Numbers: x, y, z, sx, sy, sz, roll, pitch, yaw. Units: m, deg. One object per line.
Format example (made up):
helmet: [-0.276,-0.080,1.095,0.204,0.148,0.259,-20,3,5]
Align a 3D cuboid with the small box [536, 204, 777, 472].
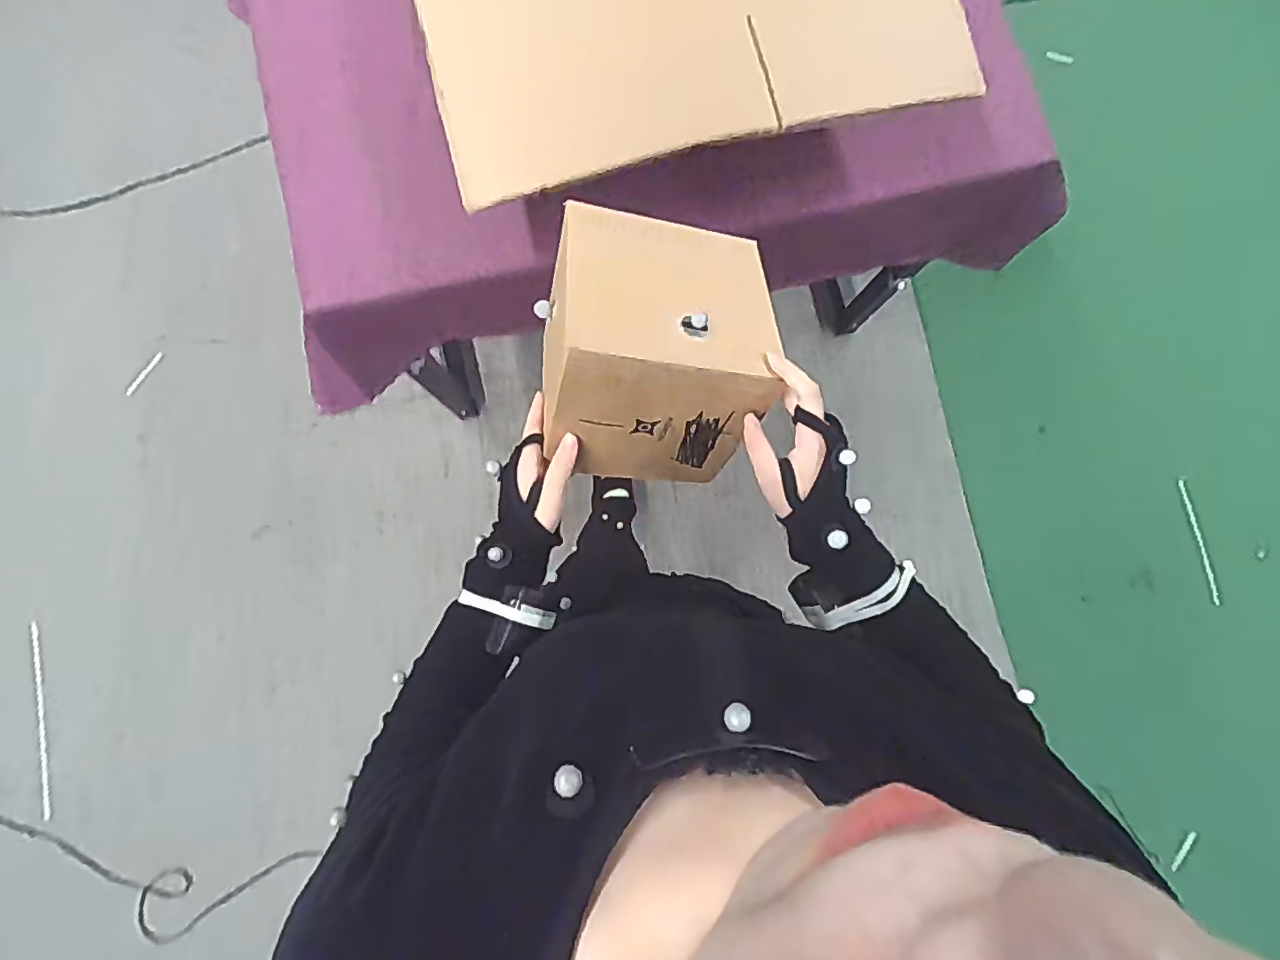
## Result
small box: [0.001,-0.125,0.506,0.179,0.168,0.176,5,60,-14]
